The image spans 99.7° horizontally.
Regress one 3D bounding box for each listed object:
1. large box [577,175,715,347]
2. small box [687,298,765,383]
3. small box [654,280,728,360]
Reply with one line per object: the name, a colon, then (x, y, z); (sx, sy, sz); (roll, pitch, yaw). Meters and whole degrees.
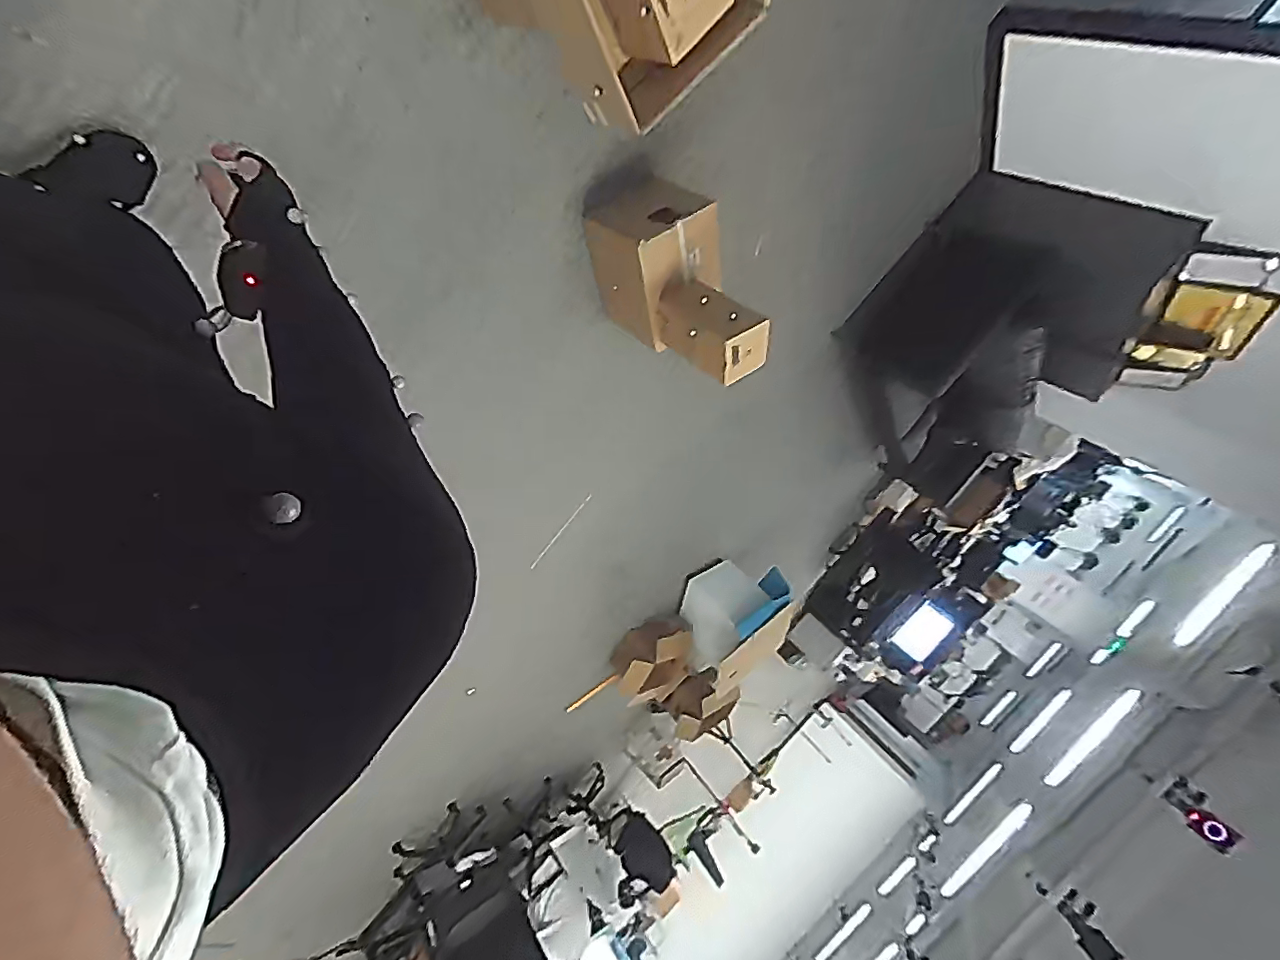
large box: (0.034, -0.743, 1.848); (0.320, 0.320, 0.408); (-37, 144, -16)
small box: (0.258, -0.435, 1.673); (0.179, 0.176, 0.168); (-32, 143, -21)
small box: (0.166, -0.530, 1.770); (0.179, 0.176, 0.168); (-31, 142, -20)
